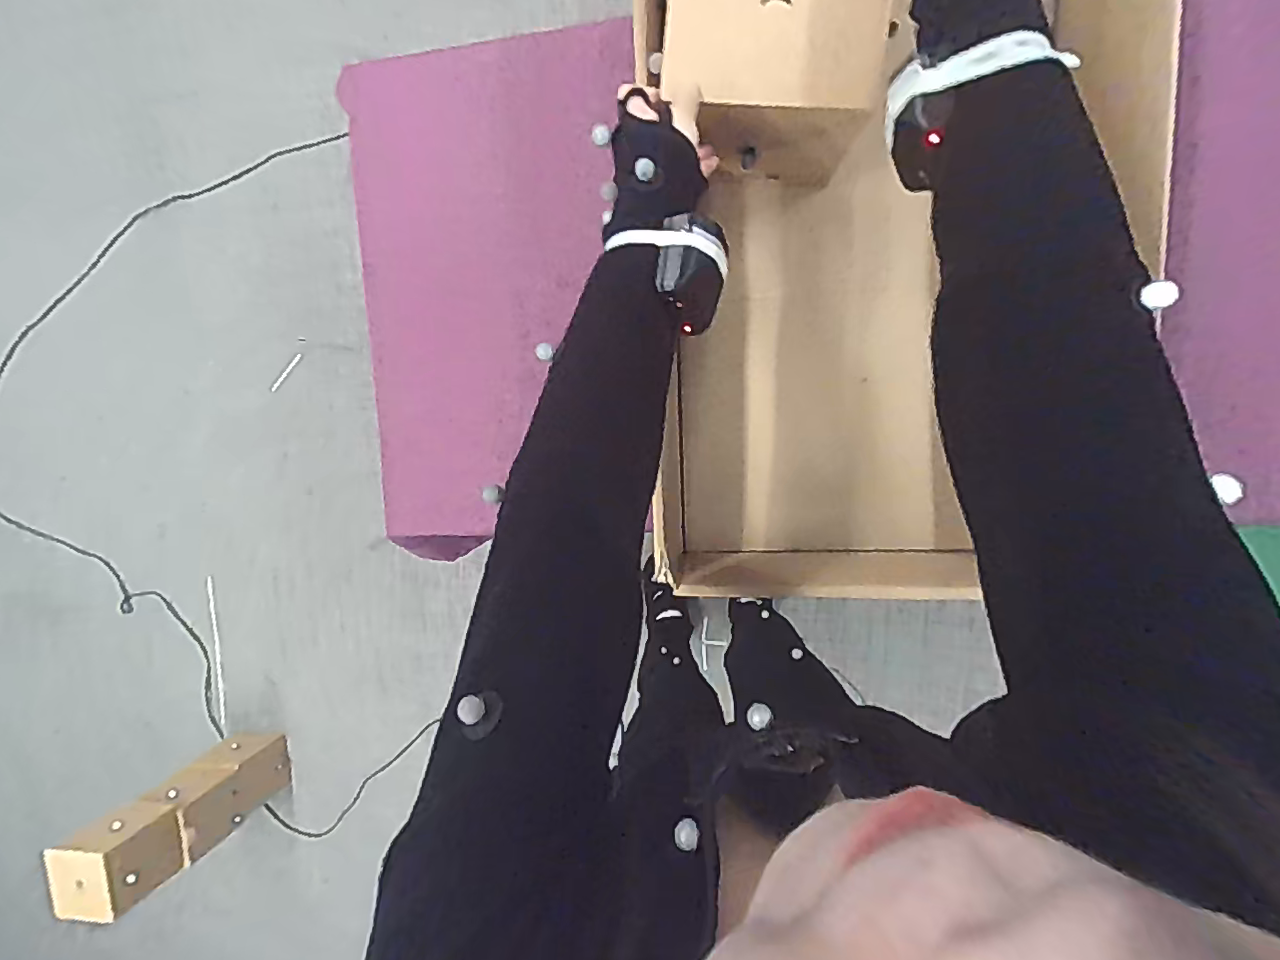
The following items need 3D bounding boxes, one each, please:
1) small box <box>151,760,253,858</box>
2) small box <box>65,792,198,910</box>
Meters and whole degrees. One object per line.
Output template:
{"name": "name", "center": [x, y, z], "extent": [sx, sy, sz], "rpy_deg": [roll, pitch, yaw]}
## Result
{"name": "small box", "center": [-1.213, 0.903, 1.499], "extent": [0.179, 0.176, 0.168], "rpy_deg": [-2, 95, 12]}
{"name": "small box", "center": [-1.250, 0.908, 1.339], "extent": [0.168, 0.176, 0.179], "rpy_deg": [-2, 97, 11]}
